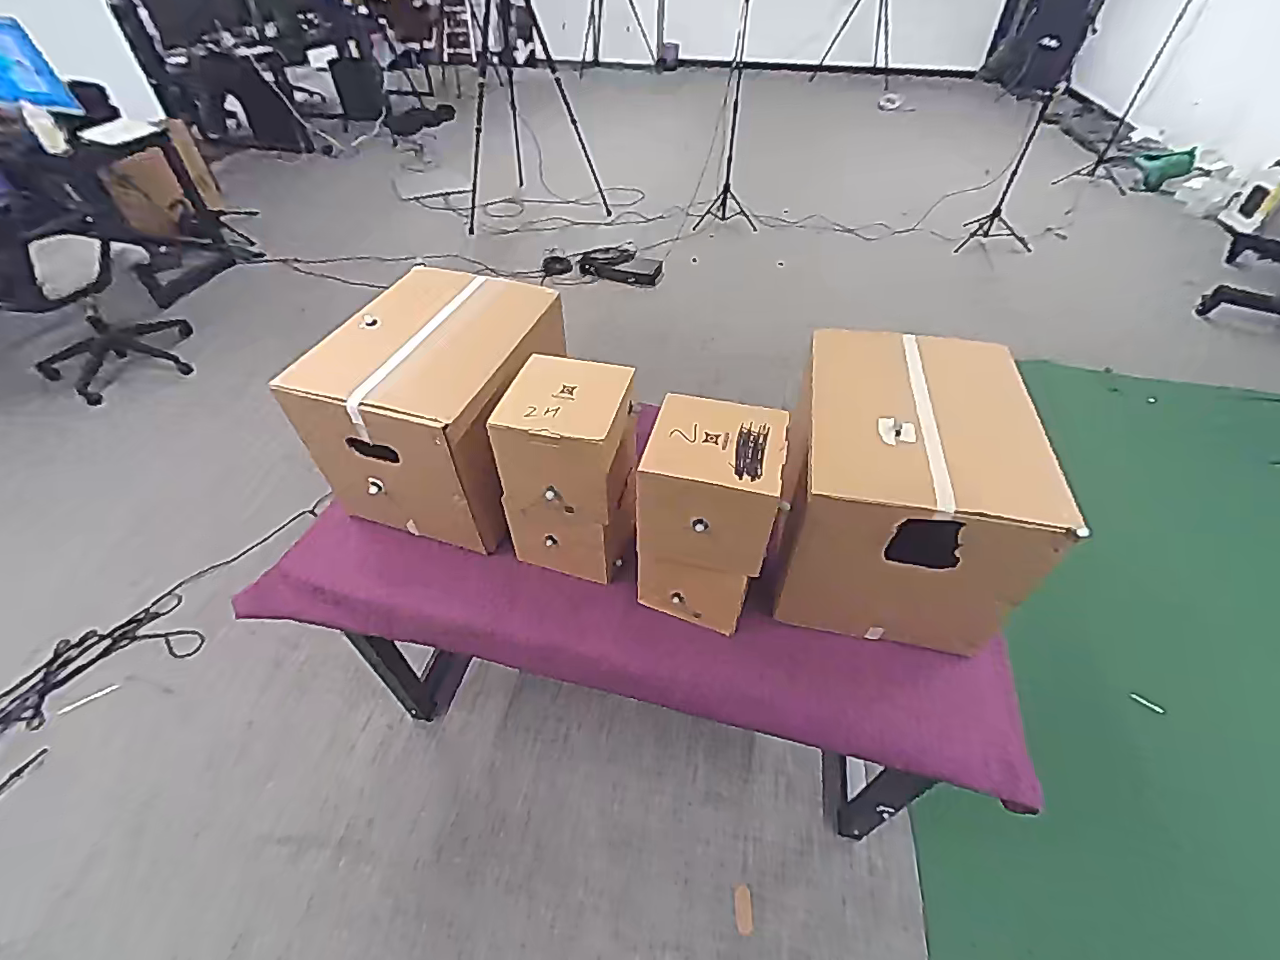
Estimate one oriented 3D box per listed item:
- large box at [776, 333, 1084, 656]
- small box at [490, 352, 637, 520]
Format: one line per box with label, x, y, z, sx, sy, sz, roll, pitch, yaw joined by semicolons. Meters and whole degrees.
large box;0.408;0.011;0.886;0.320;0.320;0.408;8;47;10
small box;-0.105;-0.067;0.822;0.168;0.176;0.179;10;47;10
